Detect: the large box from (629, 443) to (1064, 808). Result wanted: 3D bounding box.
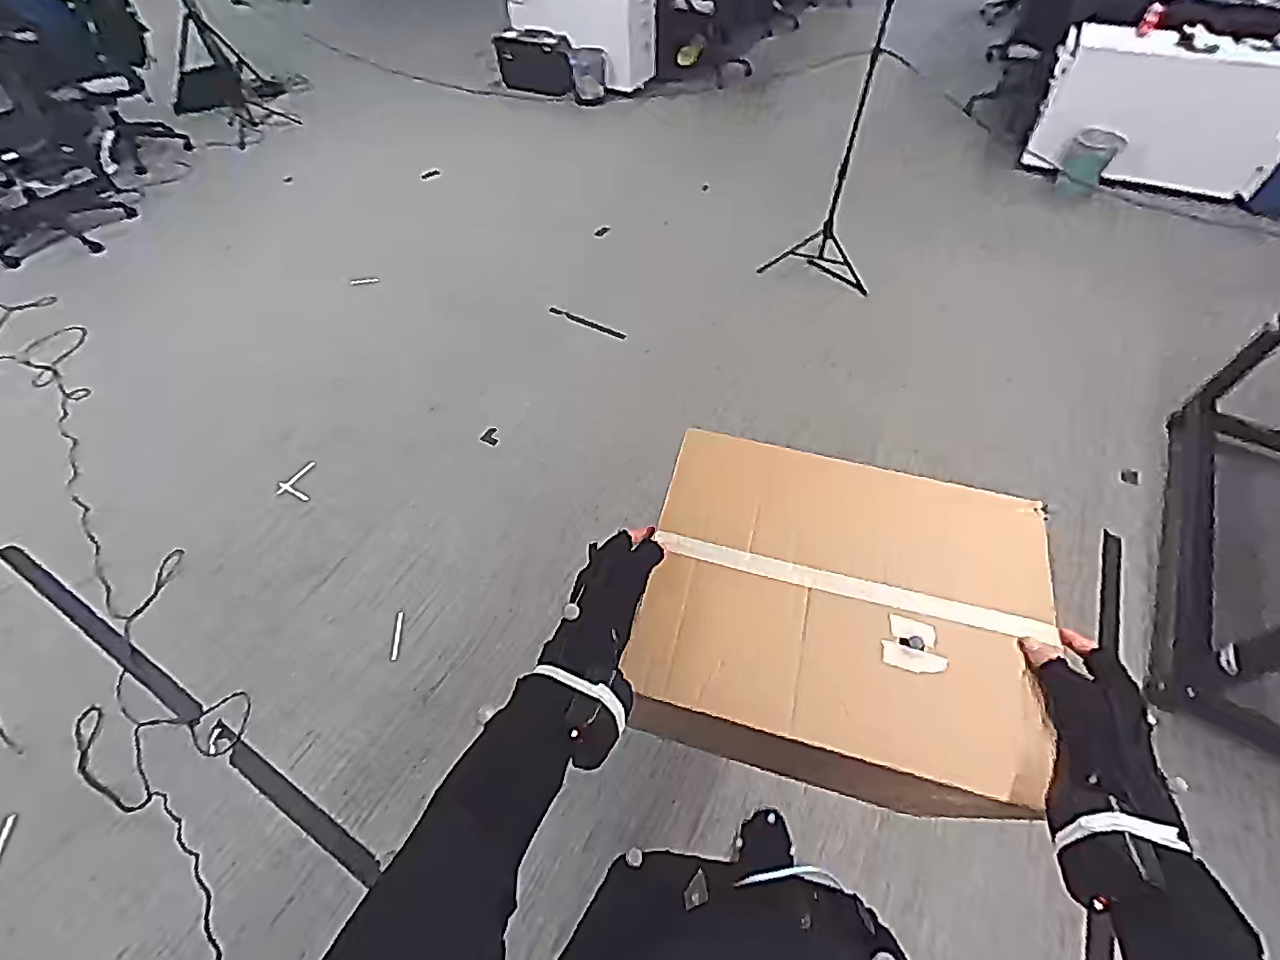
[{"bbox_3d":[0.216,0.196,0.697,0.408,0.320,0.320,13,61,8],"label":"large box"}]
